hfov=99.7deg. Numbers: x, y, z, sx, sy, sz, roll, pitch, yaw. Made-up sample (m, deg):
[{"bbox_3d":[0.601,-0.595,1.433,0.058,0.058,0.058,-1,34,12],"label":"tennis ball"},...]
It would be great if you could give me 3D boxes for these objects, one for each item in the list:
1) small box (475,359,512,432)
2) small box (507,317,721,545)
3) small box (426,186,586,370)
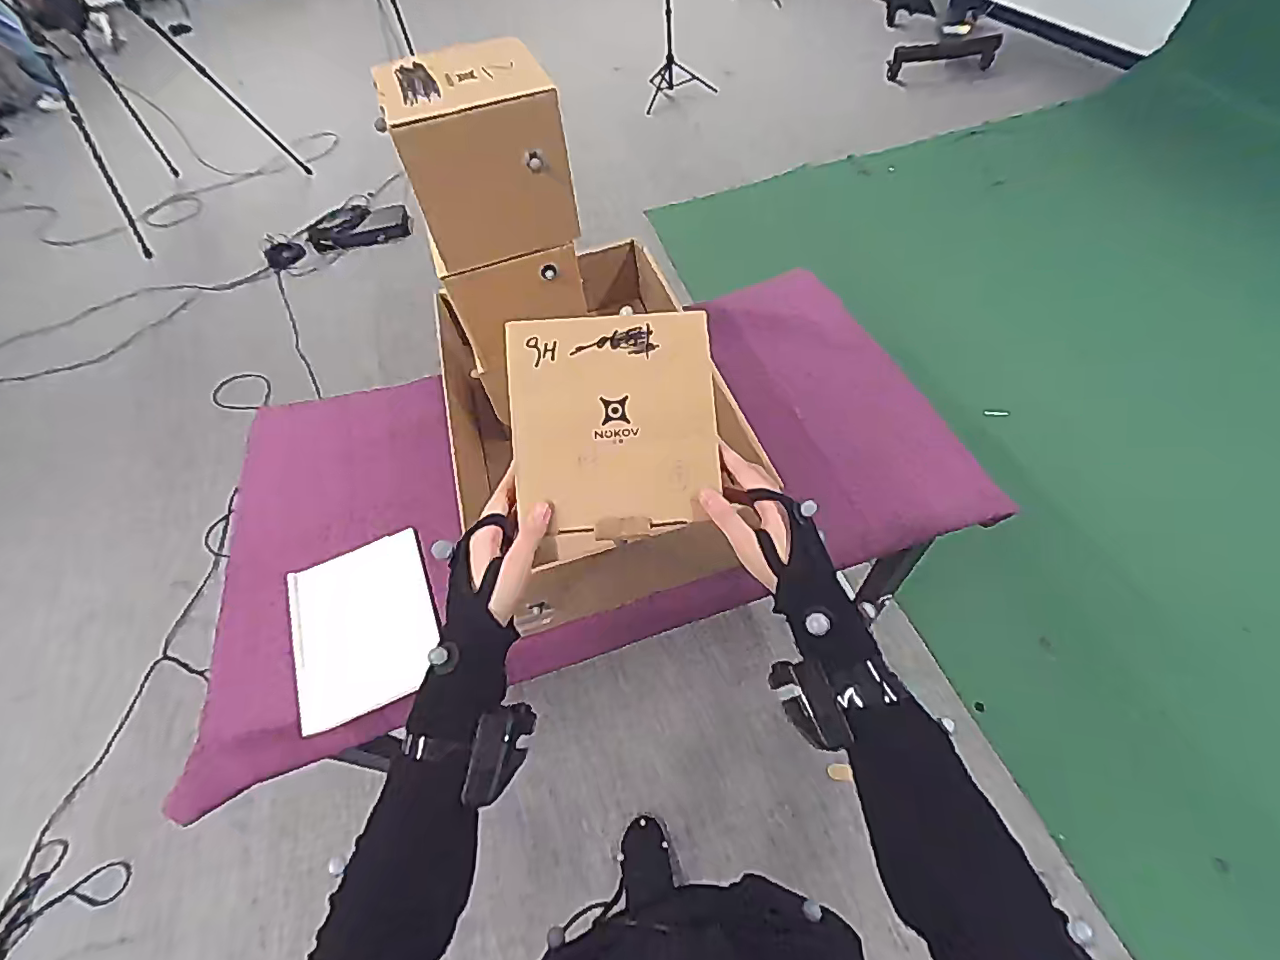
[{"bbox_3d":[-0.179,-0.198,0.921,0.168,0.176,0.179,-17,57,-6],"label":"small box"},{"bbox_3d":[-0.024,-0.038,0.511,0.168,0.176,0.179,-4,87,-4],"label":"small box"},{"bbox_3d":[-0.186,-0.287,0.786,0.179,0.176,0.168,-19,57,-7],"label":"small box"}]
